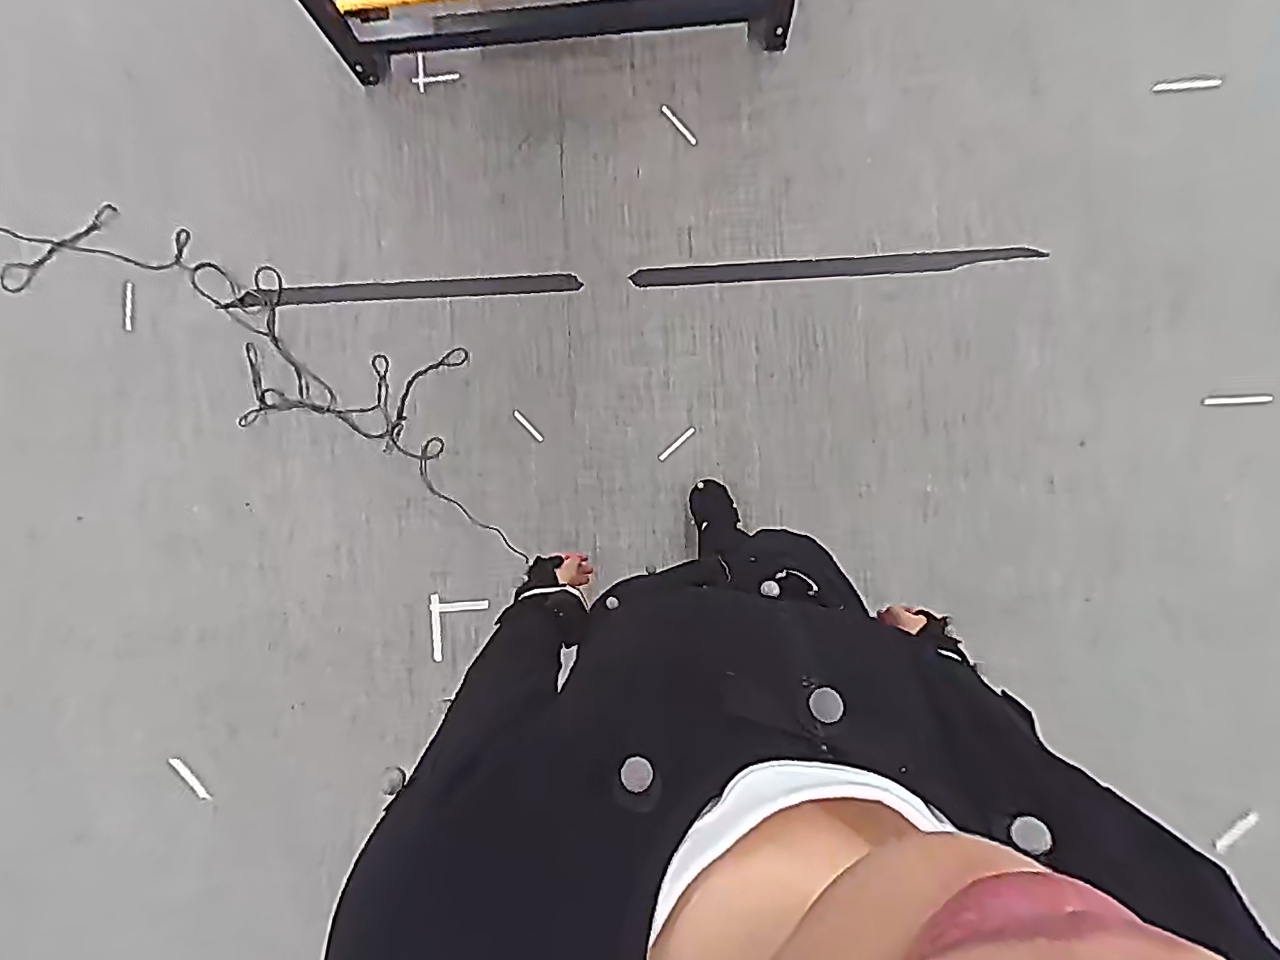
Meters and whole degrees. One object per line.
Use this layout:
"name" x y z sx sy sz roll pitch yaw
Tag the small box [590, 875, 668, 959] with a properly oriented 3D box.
"small box" -0.023 1.084 1.280 0.168 0.176 0.179 -5 87 3
